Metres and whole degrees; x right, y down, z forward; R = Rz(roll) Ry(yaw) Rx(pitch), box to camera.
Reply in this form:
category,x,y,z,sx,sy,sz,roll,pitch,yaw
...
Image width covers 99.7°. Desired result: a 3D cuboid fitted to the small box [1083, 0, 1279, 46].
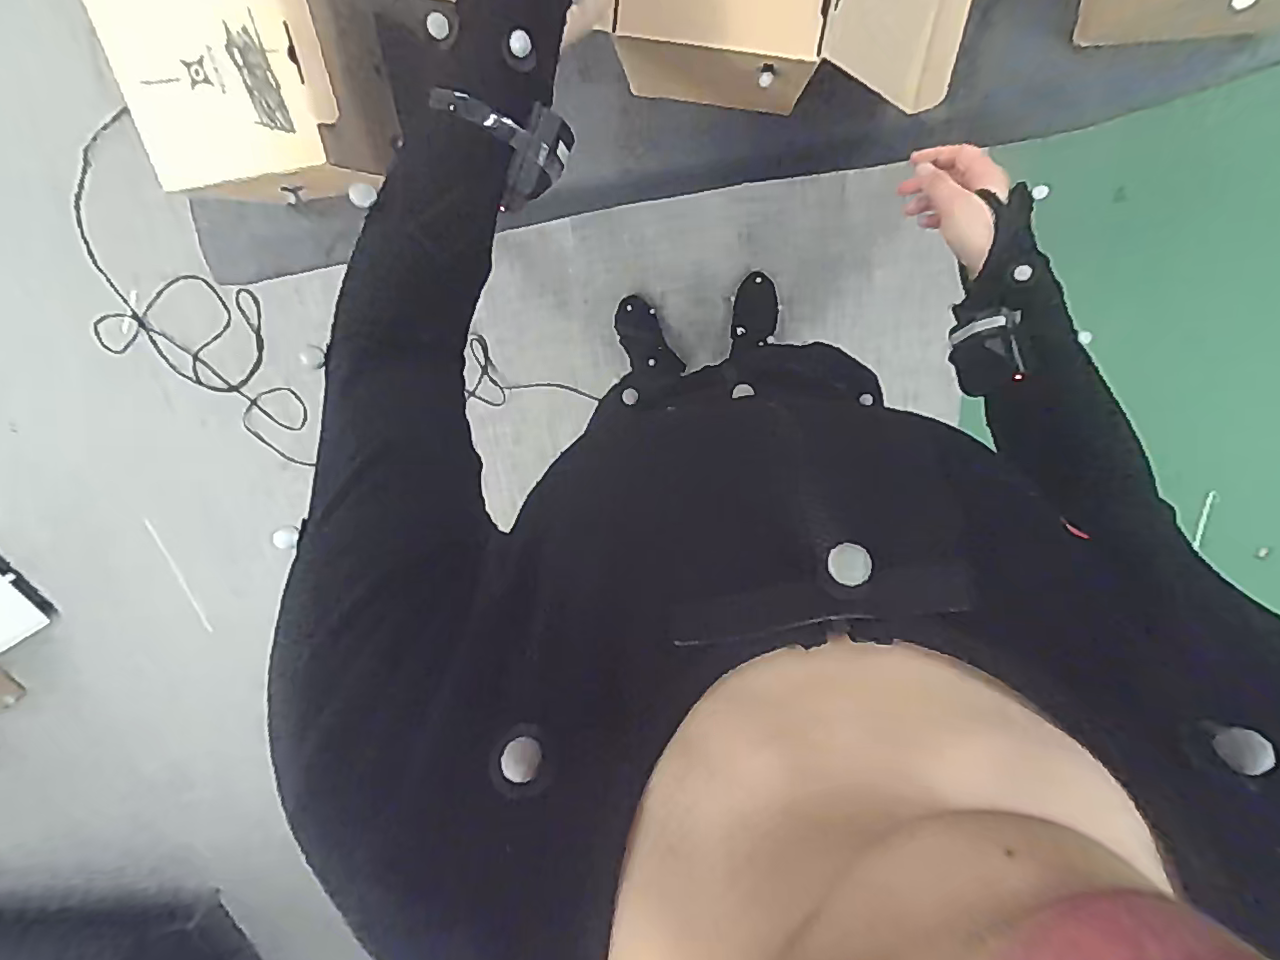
category,x,y,z,sx,sy,sz,roll,pitch,yaw
small box,0.497,-0.468,0.415,0.179,0.176,0.168,0,109,7

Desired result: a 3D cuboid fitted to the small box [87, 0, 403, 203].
category,x,y,z,sx,sy,sz,roll,pitch,yaw
small box,-0.366,-0.384,0.545,0.179,0.176,0.168,-5,113,8
